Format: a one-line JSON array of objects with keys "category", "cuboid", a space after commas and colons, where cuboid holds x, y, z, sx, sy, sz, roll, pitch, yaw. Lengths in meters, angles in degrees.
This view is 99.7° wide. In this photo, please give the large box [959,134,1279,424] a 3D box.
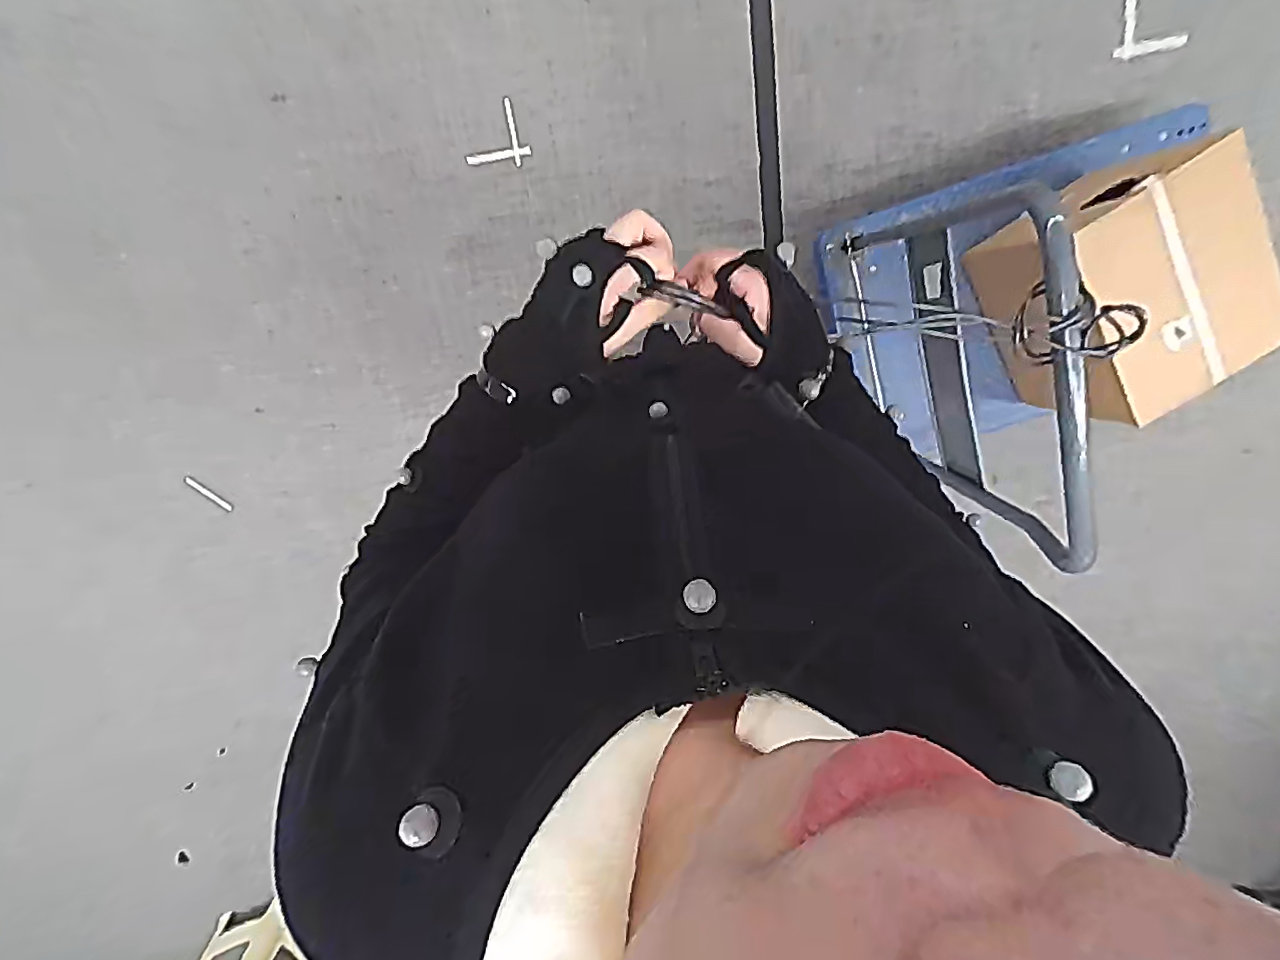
[{"category": "large box", "cuboid": [0.951, -0.385, 1.106, 0.320, 0.320, 0.408, -33, 106, 7]}]
